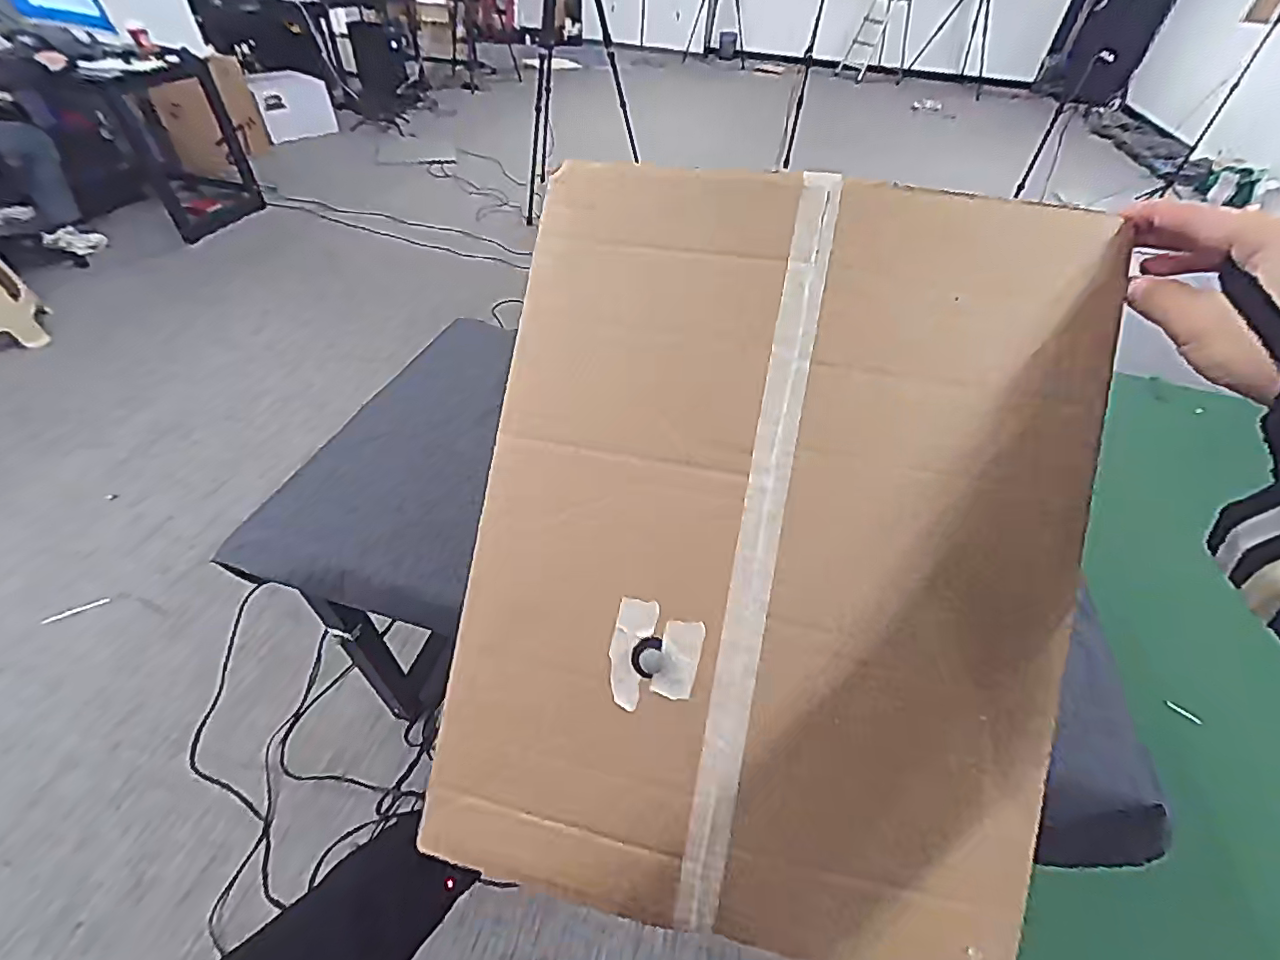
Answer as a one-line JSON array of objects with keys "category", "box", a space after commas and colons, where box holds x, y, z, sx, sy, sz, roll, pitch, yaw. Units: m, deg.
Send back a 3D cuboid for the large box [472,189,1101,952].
[{"category": "large box", "box": [0.091, 0.042, 0.458, 0.320, 0.320, 0.408, 9, 90, 7]}]
